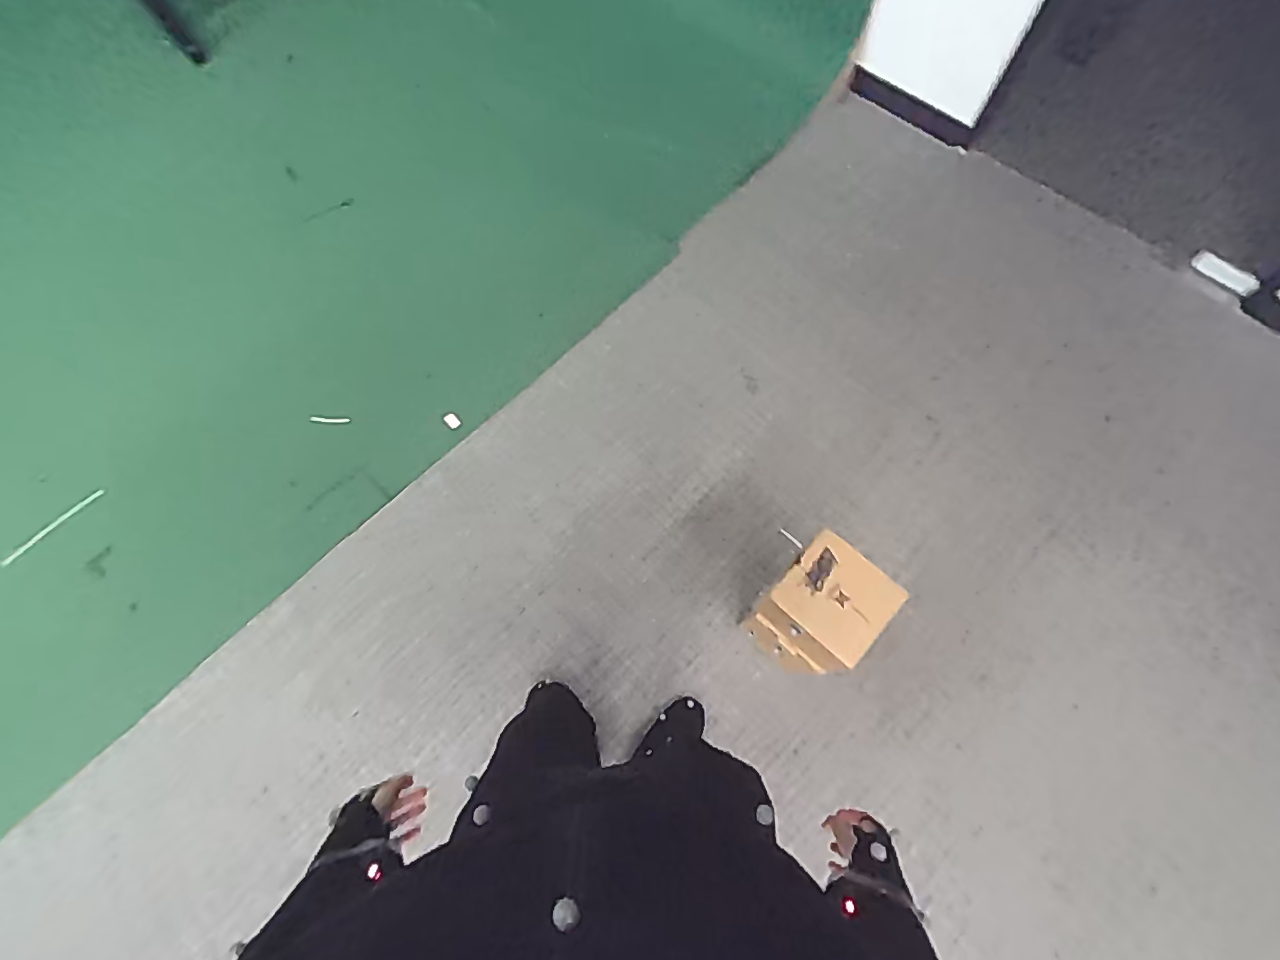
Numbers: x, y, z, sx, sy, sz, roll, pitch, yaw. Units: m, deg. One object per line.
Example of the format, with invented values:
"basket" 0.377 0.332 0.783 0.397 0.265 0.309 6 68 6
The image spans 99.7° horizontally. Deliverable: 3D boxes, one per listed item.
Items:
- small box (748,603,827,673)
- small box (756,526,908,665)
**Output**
"small box" 0.341 0.279 1.127 0.168 0.176 0.179 41 78 14
"small box" 0.331 0.215 0.975 0.179 0.176 0.168 42 78 15
